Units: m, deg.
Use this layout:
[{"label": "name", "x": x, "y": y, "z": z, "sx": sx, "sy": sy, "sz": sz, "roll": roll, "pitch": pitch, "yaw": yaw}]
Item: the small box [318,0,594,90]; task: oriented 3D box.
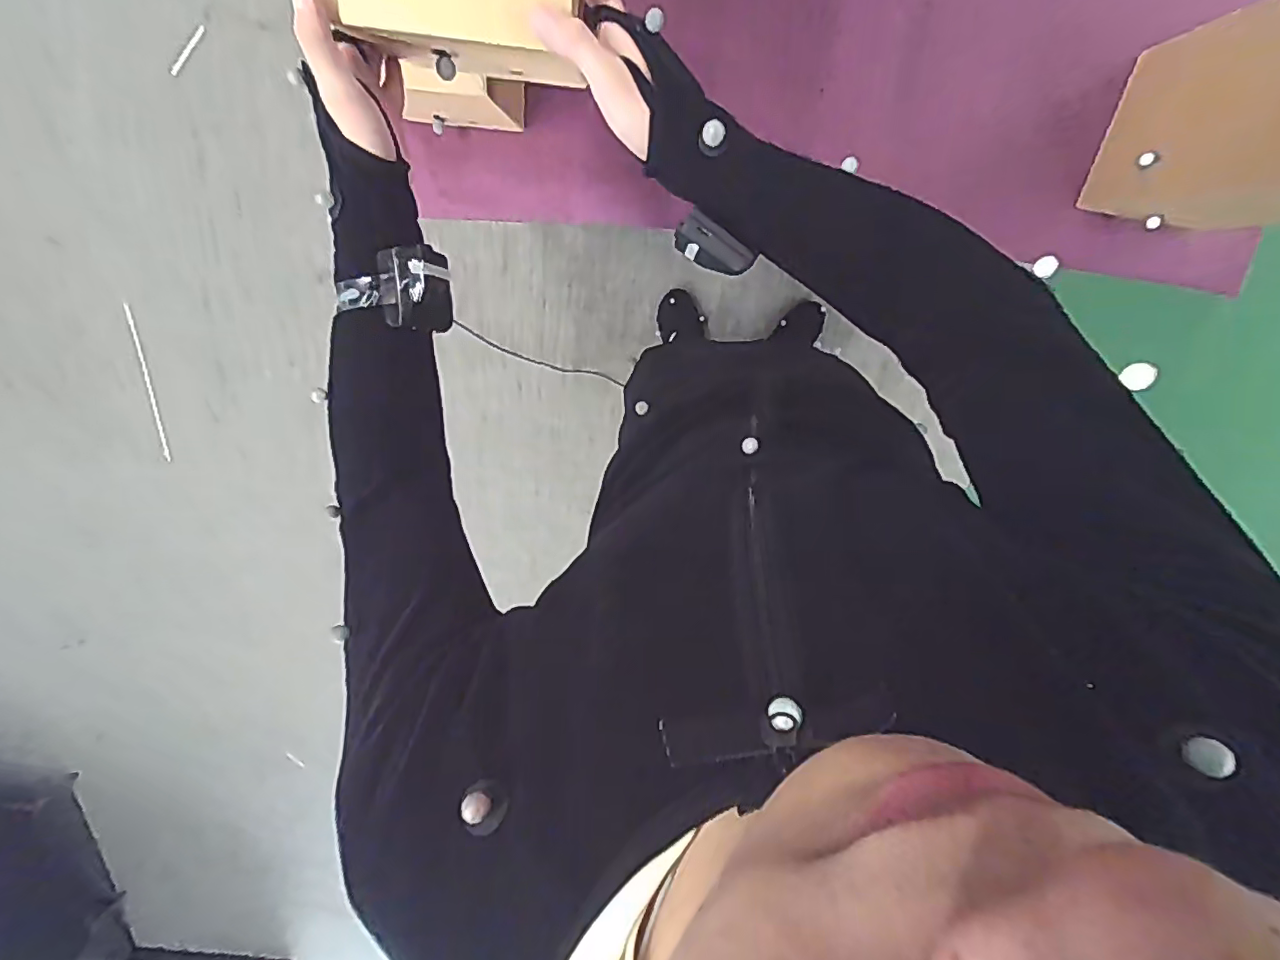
[{"label": "small box", "x": -0.118, "y": -0.403, "z": 0.388, "sx": 0.168, "sy": 0.176, "sz": 0.179, "roll": 5, "pitch": 118, "yaw": -3}]

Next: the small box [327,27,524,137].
[{"label": "small box", "x": -0.231, "y": -0.516, "z": 0.613, "sx": 0.168, "sy": 0.176, "sz": 0.179, "roll": 6, "pitch": 112, "yaw": 0}]
